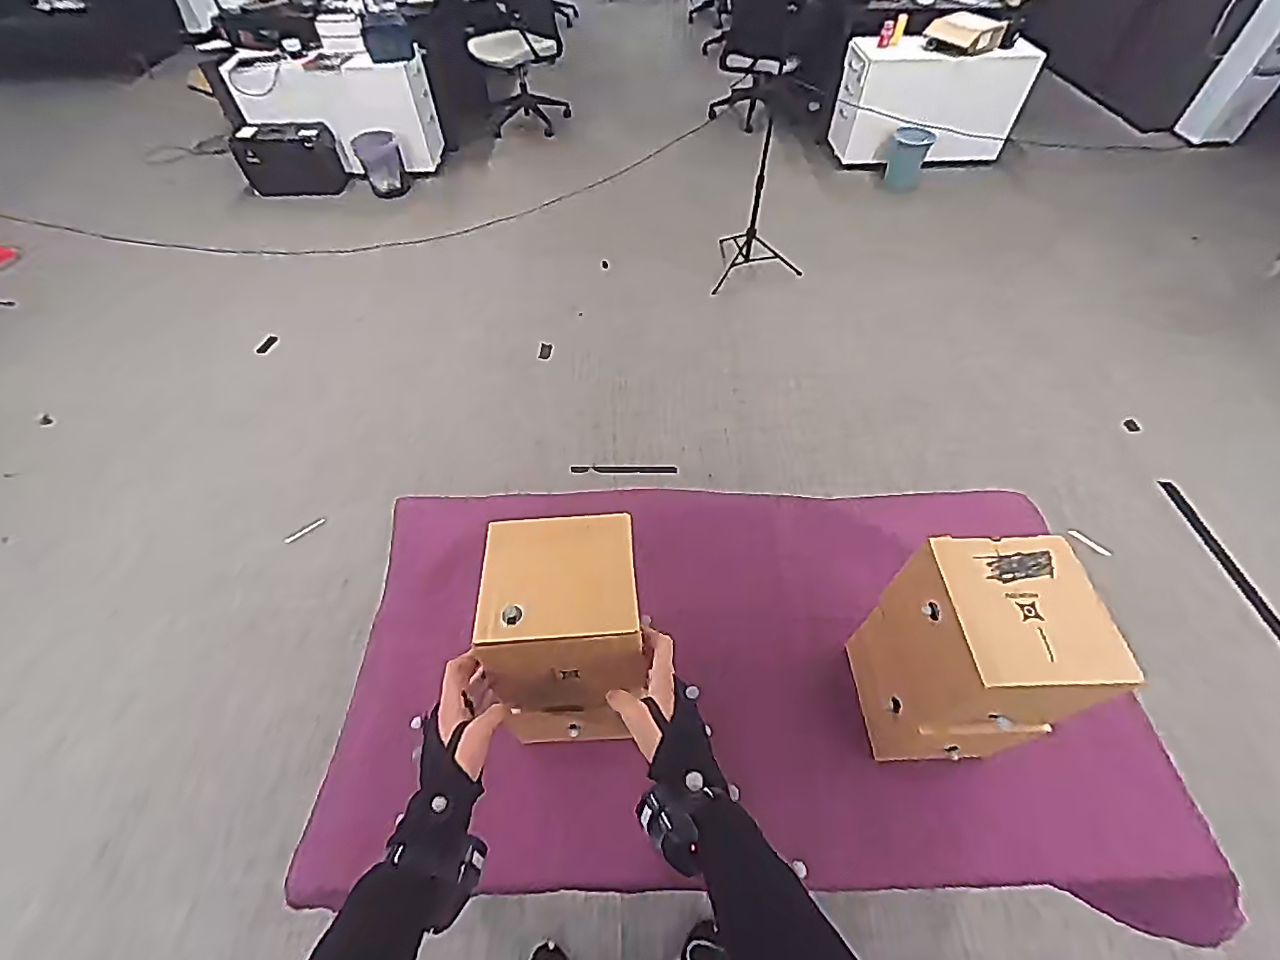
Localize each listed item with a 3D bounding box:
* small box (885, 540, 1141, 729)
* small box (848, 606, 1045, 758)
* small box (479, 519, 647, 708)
[{"bbox_3d":[0.424,0.190,0.658,0.168,0.176,0.179,-1,54,0],"label":"small box"},{"bbox_3d":[0.424,0.296,0.784,0.168,0.176,0.179,-1,53,-1],"label":"small box"},{"bbox_3d":[-0.085,0.162,0.669,0.179,0.168,0.176,-3,46,-2],"label":"small box"}]
